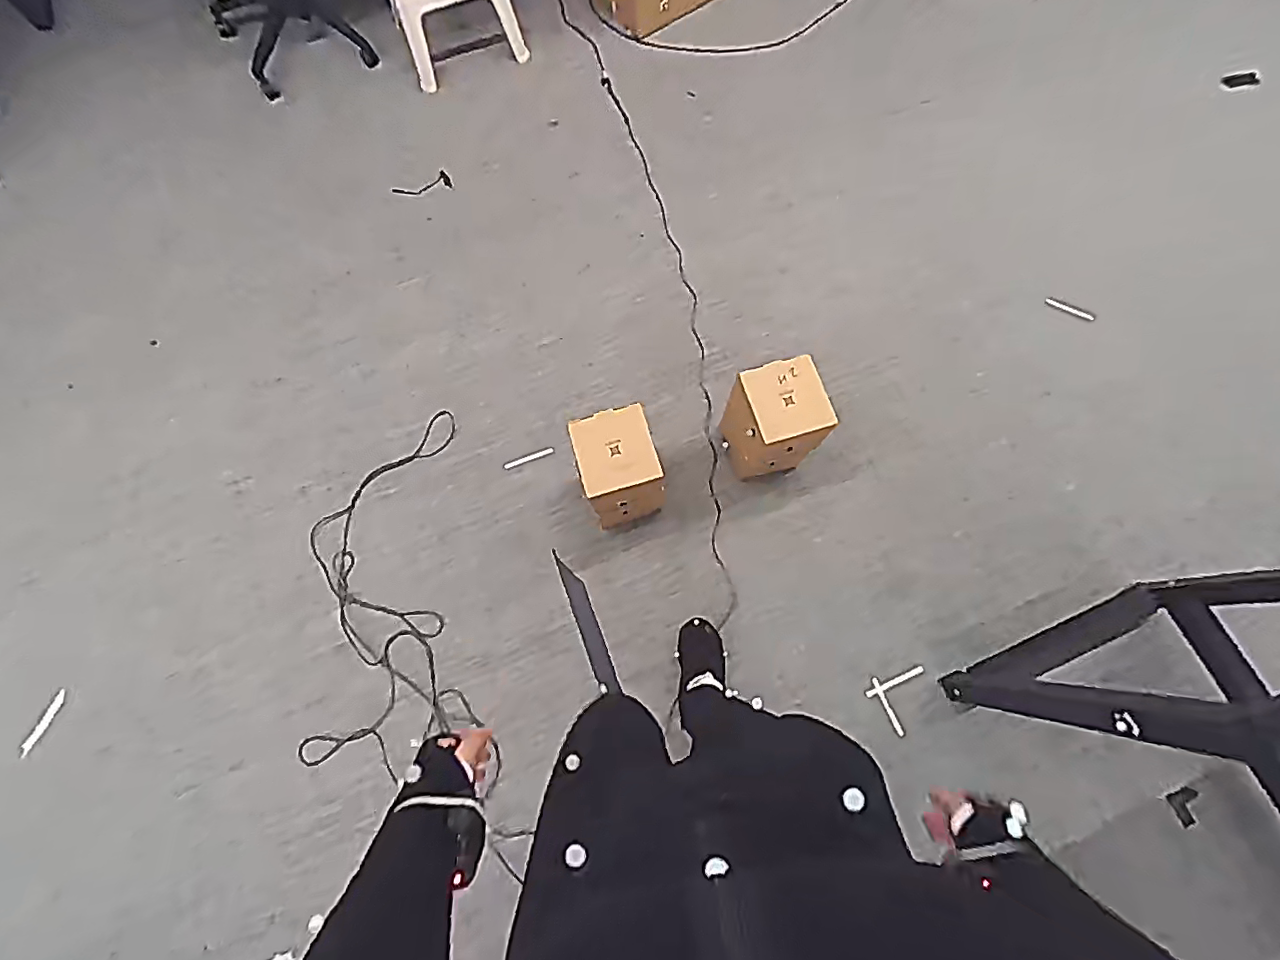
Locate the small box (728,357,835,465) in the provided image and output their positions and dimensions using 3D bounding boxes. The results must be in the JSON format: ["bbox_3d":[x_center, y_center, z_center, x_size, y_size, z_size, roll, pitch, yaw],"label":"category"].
[{"bbox_3d":[0.313,-0.147,1.232,0.168,0.176,0.179,-16,74,-5],"label":"small box"}]

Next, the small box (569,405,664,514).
[{"bbox_3d":[-0.051,-0.039,1.211,0.168,0.176,0.179,-17,75,-3],"label":"small box"}]

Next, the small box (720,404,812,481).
[{"bbox_3d":[0.318,-0.111,1.393,0.179,0.176,0.168,-13,73,-2],"label":"small box"}]

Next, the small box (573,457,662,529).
[{"bbox_3d":[-0.050,0.011,1.367,0.179,0.176,0.168,-21,74,-4],"label":"small box"}]
